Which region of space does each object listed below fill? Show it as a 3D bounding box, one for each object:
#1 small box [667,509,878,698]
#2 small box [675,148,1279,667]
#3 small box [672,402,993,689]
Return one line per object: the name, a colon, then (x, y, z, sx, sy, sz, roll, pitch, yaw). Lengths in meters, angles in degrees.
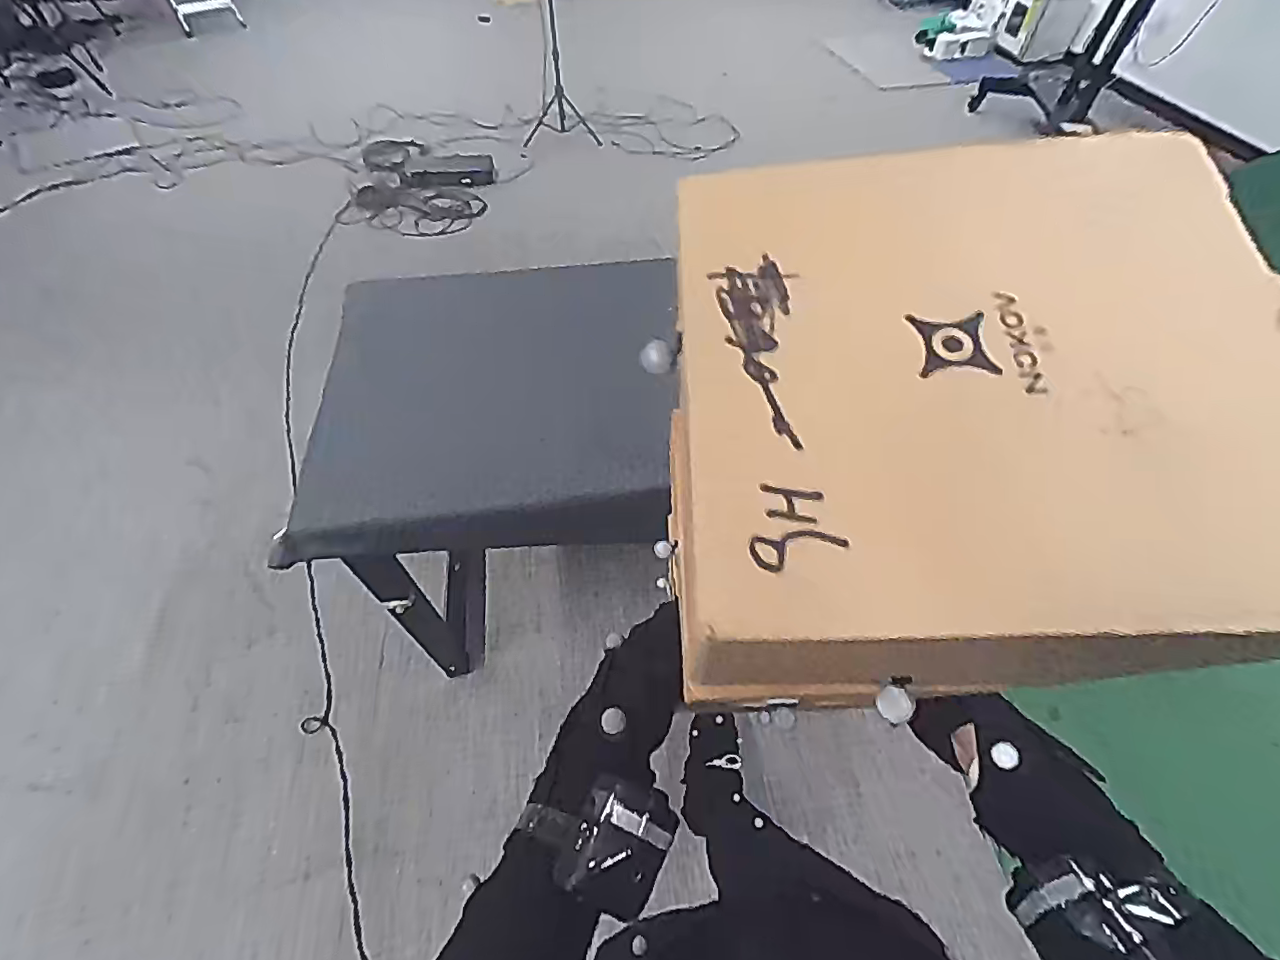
small box: (0.117, 0.131, 0.552, 0.179, 0.176, 0.168, -1, 66, 2)
small box: (0.105, -0.011, 0.242, 0.179, 0.176, 0.168, -2, 66, 4)
small box: (0.107, 0.053, 0.392, 0.168, 0.176, 0.179, -3, 67, 3)
